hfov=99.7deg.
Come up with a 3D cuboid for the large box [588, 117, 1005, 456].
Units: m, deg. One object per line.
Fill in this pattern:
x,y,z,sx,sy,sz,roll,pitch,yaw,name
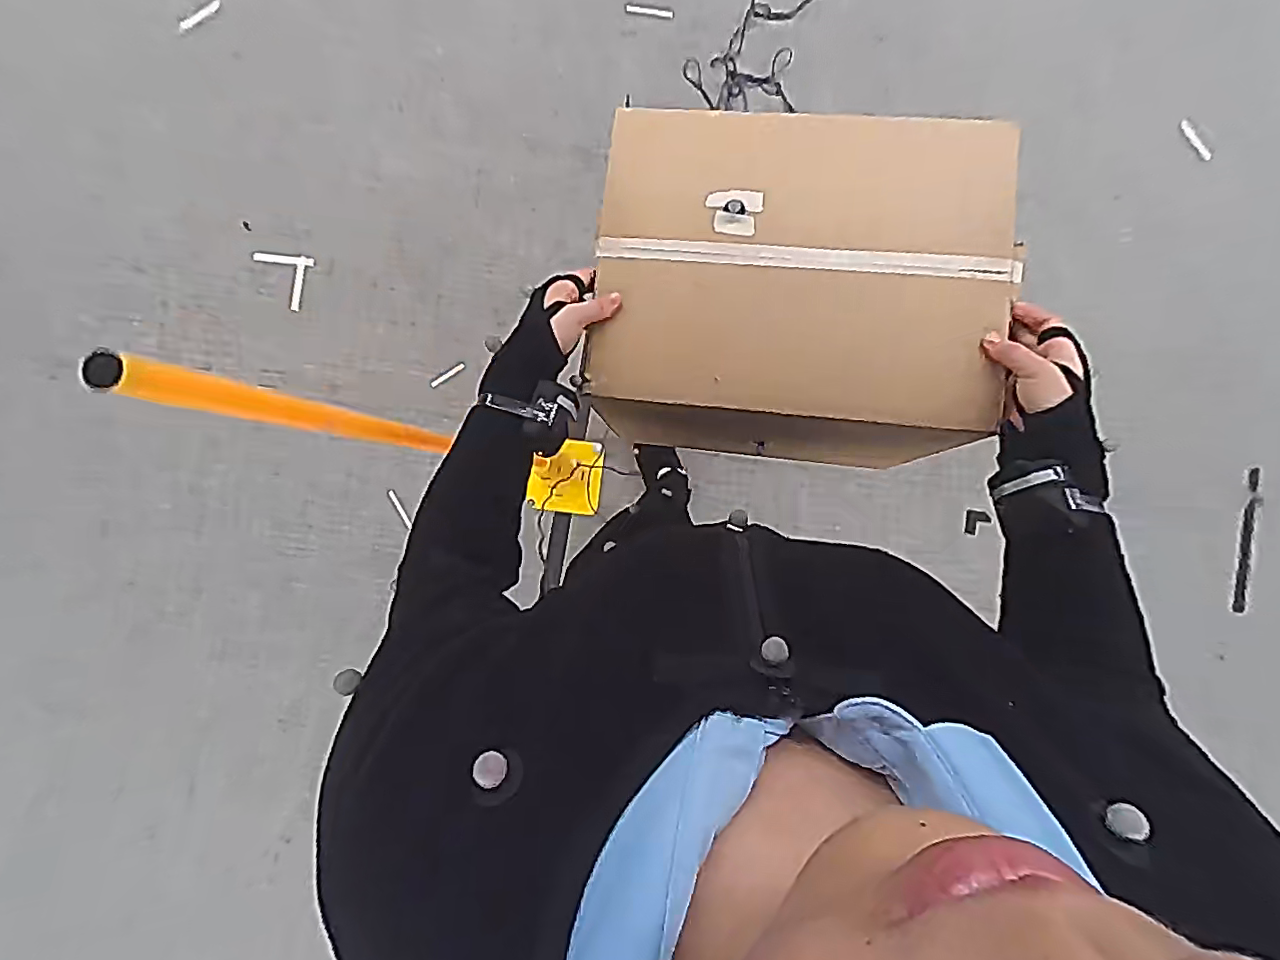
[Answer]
0.175,-0.213,0.698,0.408,0.320,0.320,6,84,8,large box
